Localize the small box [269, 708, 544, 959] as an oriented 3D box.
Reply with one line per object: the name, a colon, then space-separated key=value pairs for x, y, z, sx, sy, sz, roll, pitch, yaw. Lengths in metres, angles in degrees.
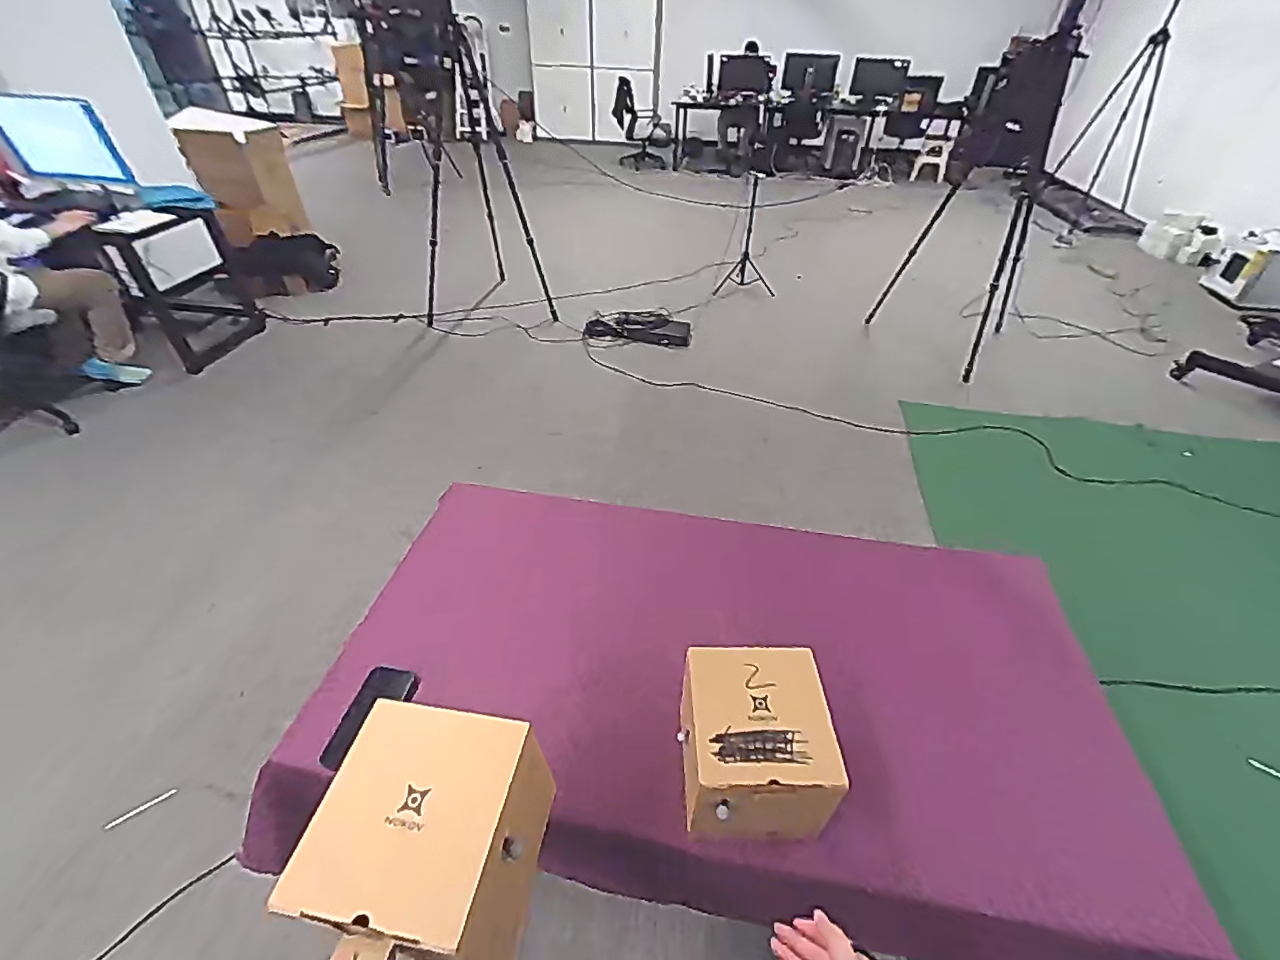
small box: x=-0.201 y=0.357 z=0.532 sx=0.168 sy=0.176 sz=0.179 roll=5 pitch=43 yaw=9
